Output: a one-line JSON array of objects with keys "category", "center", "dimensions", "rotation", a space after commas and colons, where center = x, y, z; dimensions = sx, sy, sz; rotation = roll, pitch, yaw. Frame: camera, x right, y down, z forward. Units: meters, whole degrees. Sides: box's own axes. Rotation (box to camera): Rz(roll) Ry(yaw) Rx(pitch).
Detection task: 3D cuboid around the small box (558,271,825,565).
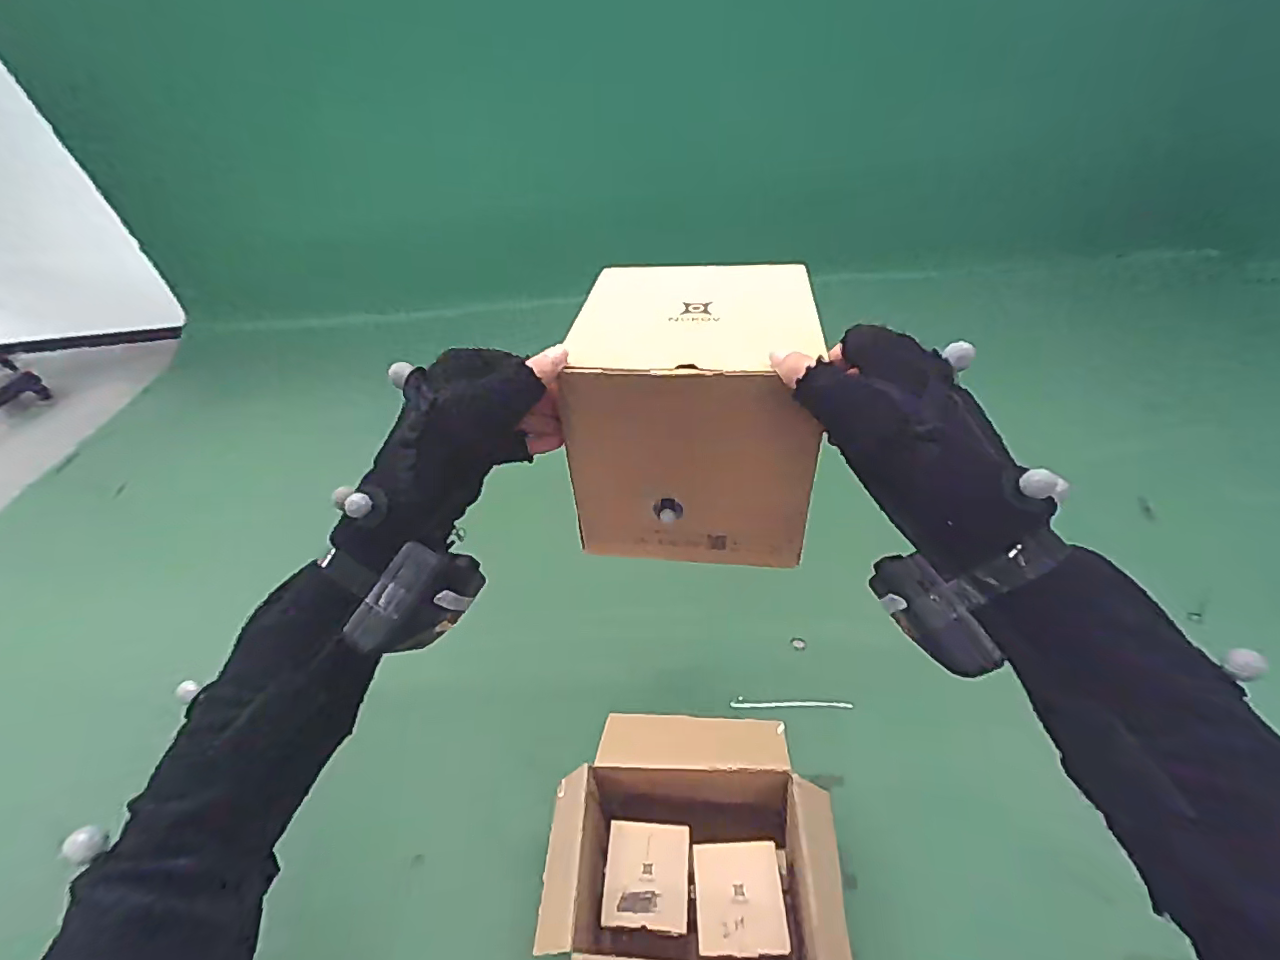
[{"category": "small box", "center": [0.044, -0.056, 0.439], "dimensions": [0.168, 0.176, 0.179], "rotation": [3, 41, 8]}]
